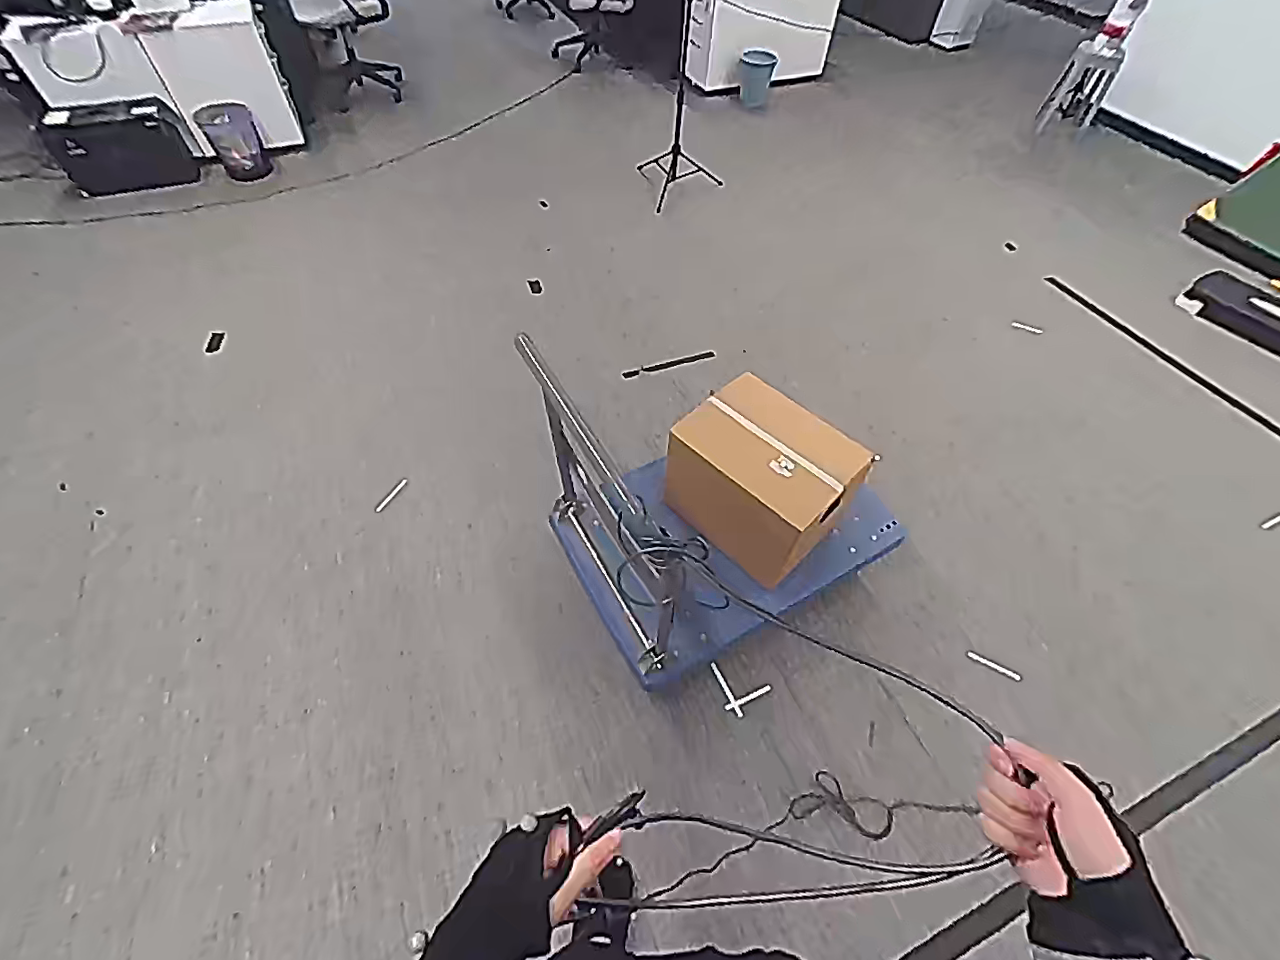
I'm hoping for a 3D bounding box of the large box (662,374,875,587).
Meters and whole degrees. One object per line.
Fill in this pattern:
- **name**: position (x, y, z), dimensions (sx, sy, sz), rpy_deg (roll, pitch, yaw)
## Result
- **large box**: position (0.311, 0.000, 1.426), dimensions (0.320, 0.320, 0.408), rpy_deg (-38, 65, -25)
